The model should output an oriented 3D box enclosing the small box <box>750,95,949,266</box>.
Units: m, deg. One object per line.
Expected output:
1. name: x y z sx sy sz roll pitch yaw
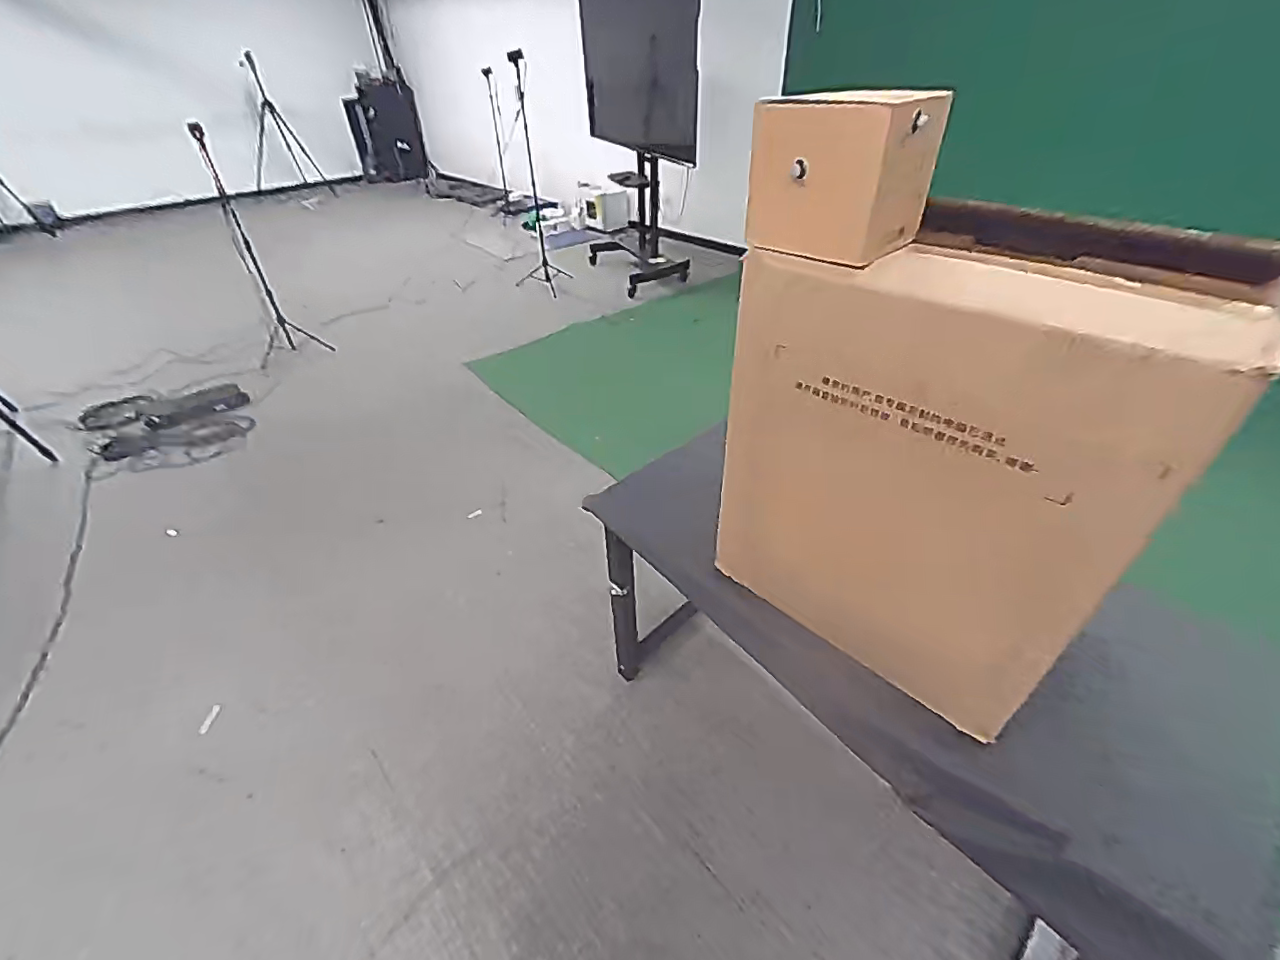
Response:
1. small box: 0.259 -0.389 0.702 0.179 0.176 0.168 29 49 35
